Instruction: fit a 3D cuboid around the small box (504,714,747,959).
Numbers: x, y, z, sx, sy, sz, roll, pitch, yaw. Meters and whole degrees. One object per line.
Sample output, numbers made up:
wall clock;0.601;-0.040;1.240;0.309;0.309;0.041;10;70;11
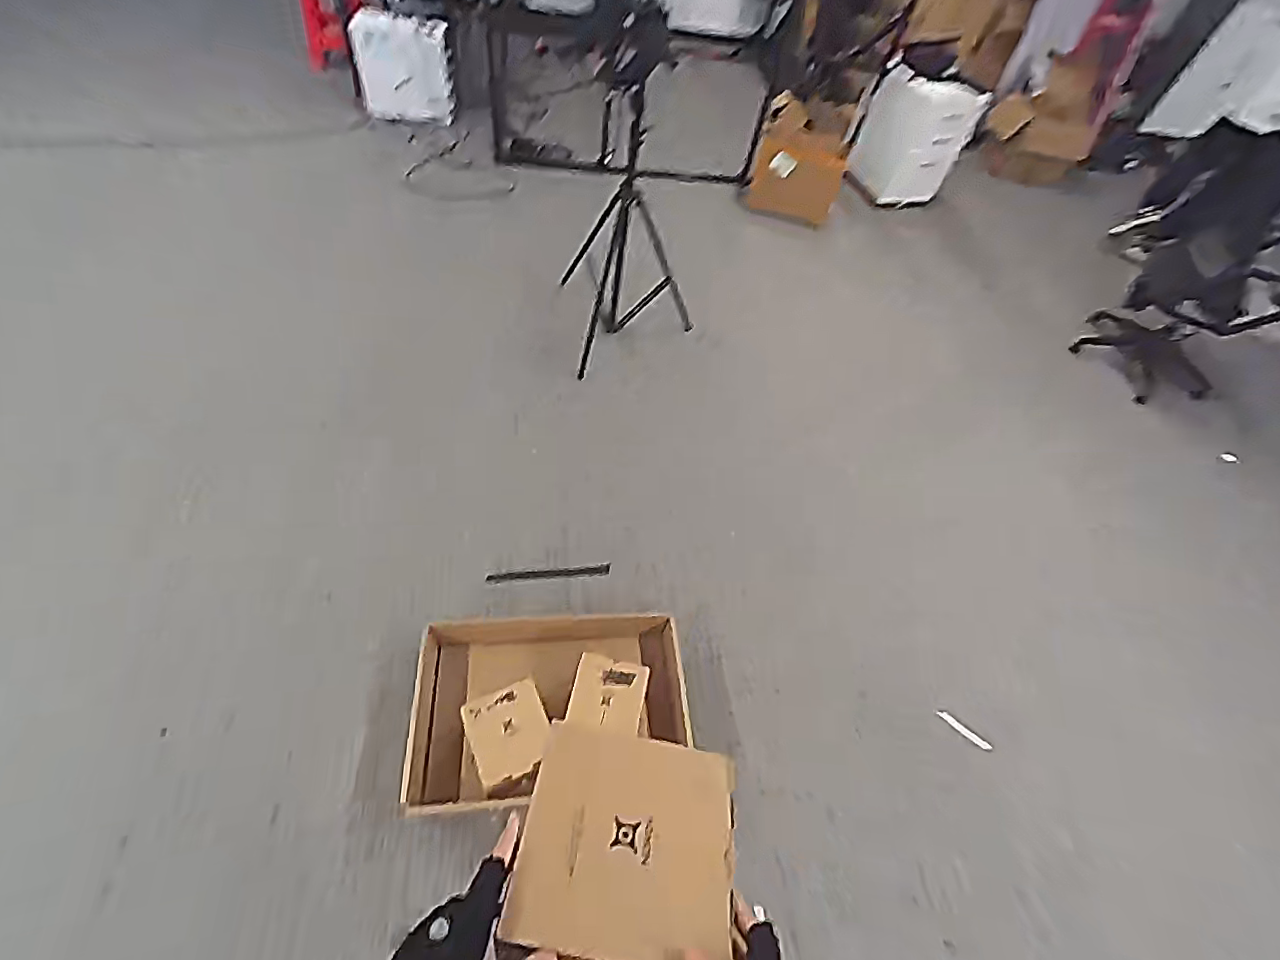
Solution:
small box;-0.012;0.344;0.487;0.179;0.176;0.168;11;38;1
